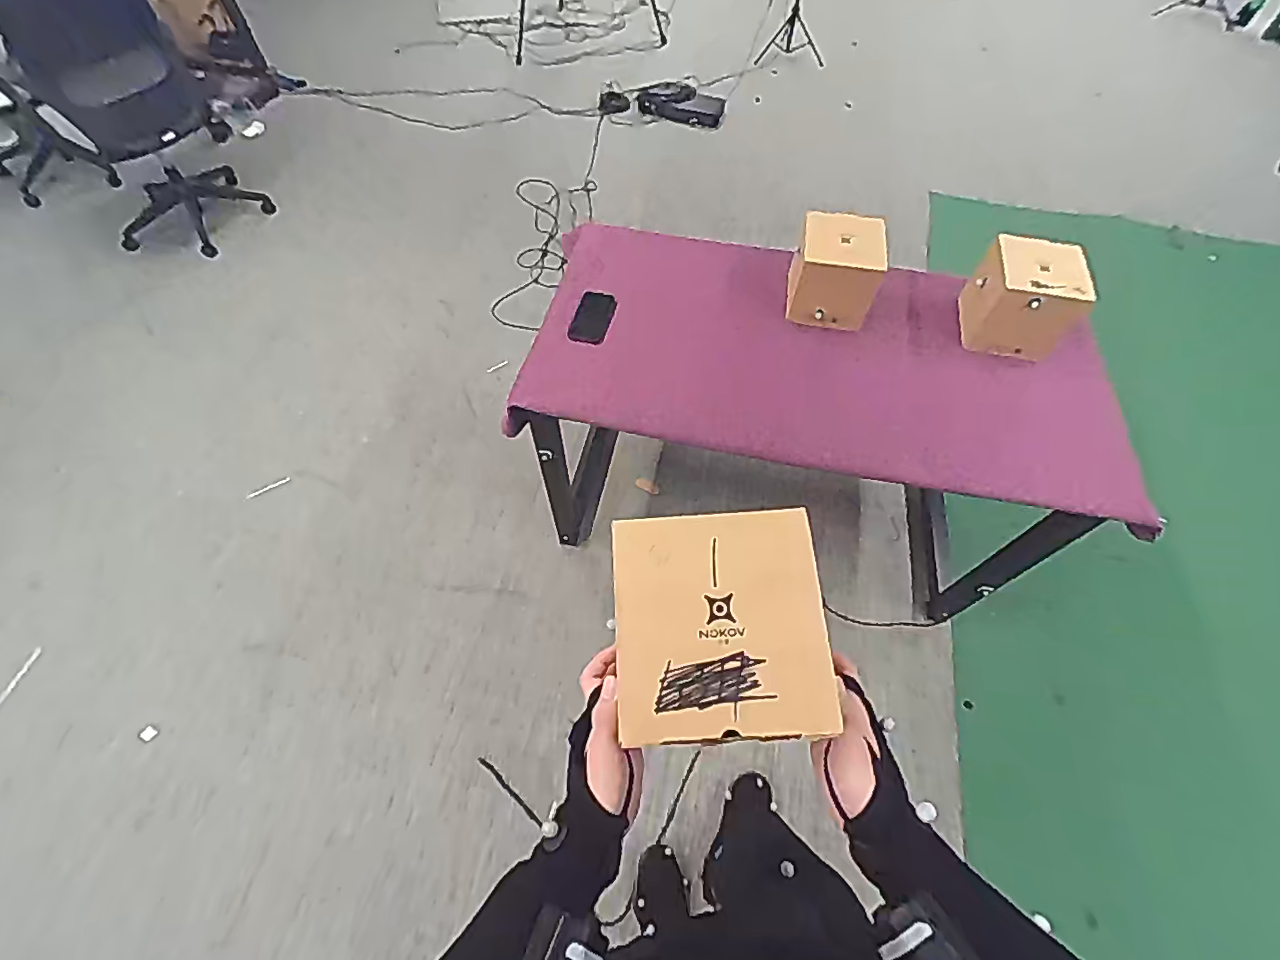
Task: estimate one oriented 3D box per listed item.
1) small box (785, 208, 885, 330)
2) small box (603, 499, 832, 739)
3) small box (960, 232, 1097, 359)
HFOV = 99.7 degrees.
[{"bbox_3d":[0.420,-0.458,1.180,0.168,0.176,0.179,10,59,6],"label":"small box"},{"bbox_3d":[0.059,0.129,0.492,0.168,0.176,0.179,-4,69,2],"label":"small box"},{"bbox_3d":[0.800,-0.386,1.137,0.168,0.176,0.179,11,58,8],"label":"small box"}]
